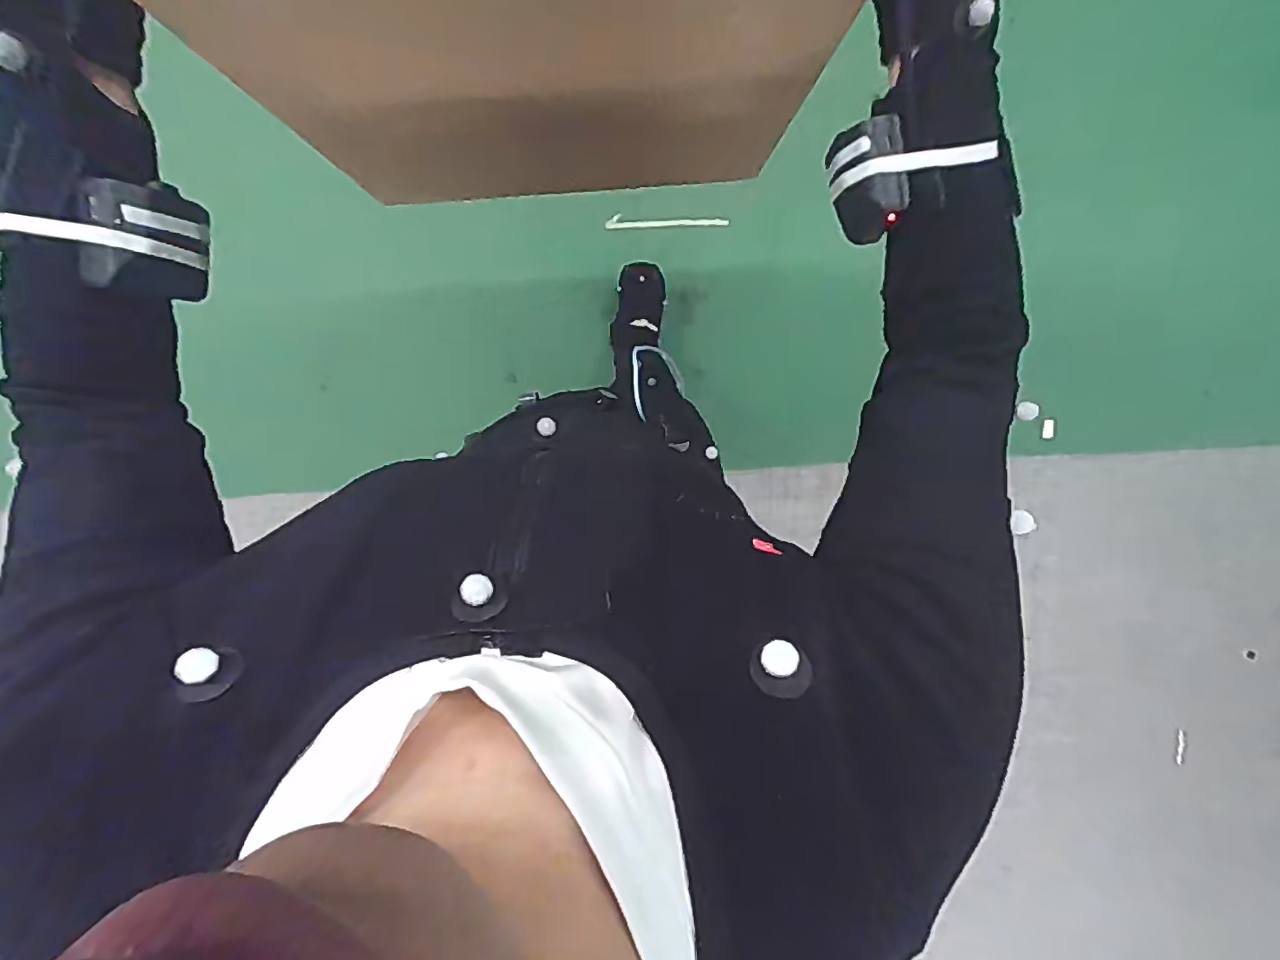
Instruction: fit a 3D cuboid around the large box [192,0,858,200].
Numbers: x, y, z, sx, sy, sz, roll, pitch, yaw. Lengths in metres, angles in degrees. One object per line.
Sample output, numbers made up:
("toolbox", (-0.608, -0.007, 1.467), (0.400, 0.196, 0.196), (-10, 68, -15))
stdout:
("large box", (-0.075, -0.445, 0.412), (0.408, 0.320, 0.320), (-6, 99, -3))
